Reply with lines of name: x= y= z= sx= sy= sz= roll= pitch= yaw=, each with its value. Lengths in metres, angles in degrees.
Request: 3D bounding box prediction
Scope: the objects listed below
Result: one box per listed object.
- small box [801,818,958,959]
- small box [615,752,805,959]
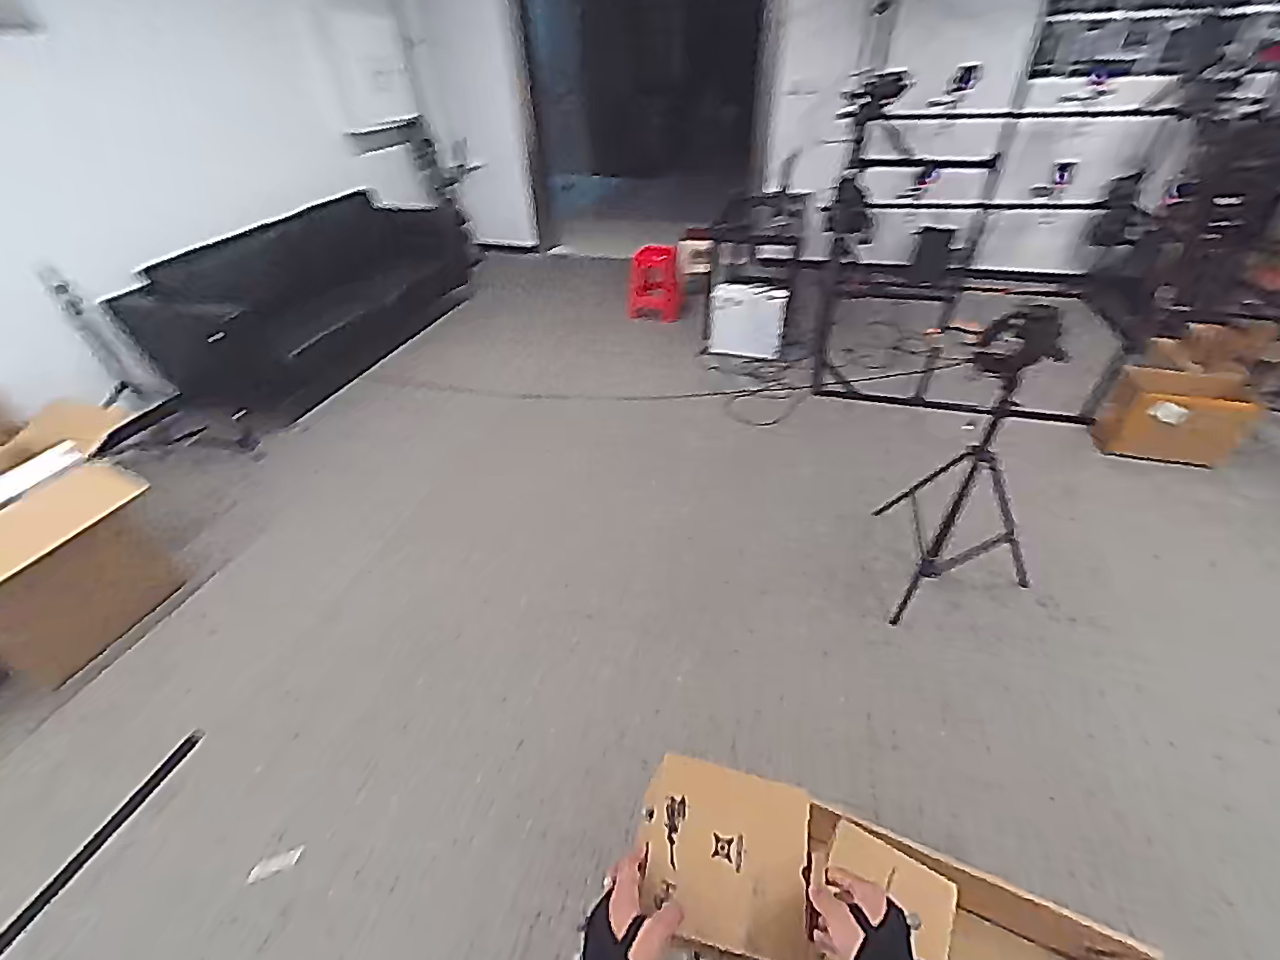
small box: x=0.330 y=0.648 z=0.780 sx=0.168 sy=0.176 sz=0.179 roll=21 pitch=43 yaw=27
small box: x=0.079 y=0.452 z=0.638 sx=0.179 sy=0.176 sz=0.168 roll=15 pitch=47 yaw=3
